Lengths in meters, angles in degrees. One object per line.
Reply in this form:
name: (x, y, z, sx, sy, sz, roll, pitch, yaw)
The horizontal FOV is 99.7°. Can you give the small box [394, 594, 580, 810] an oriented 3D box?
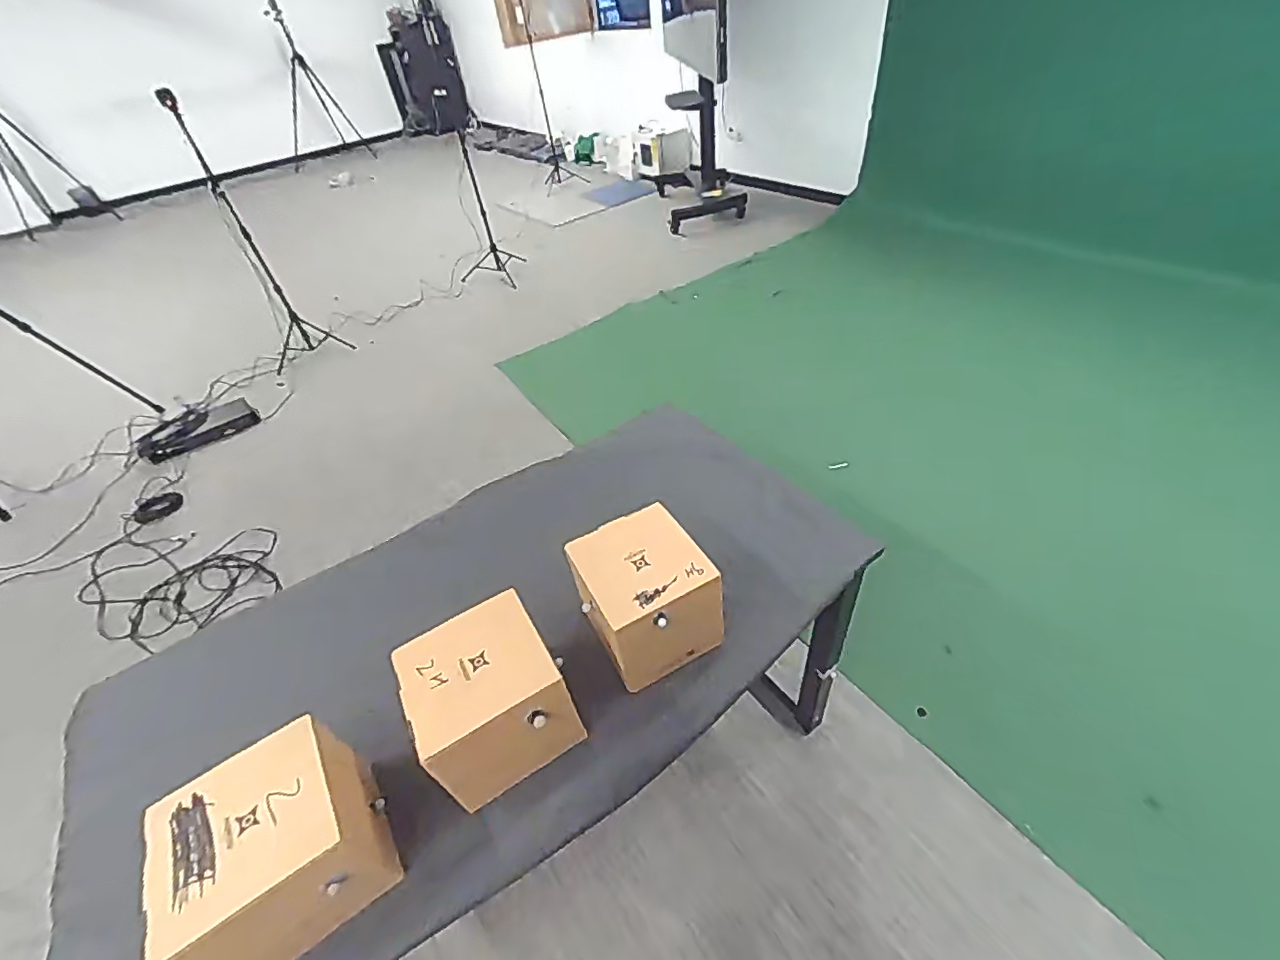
small box: (-0.192, 0.292, 0.719, 0.179, 0.176, 0.168, -27, 44, -17)
